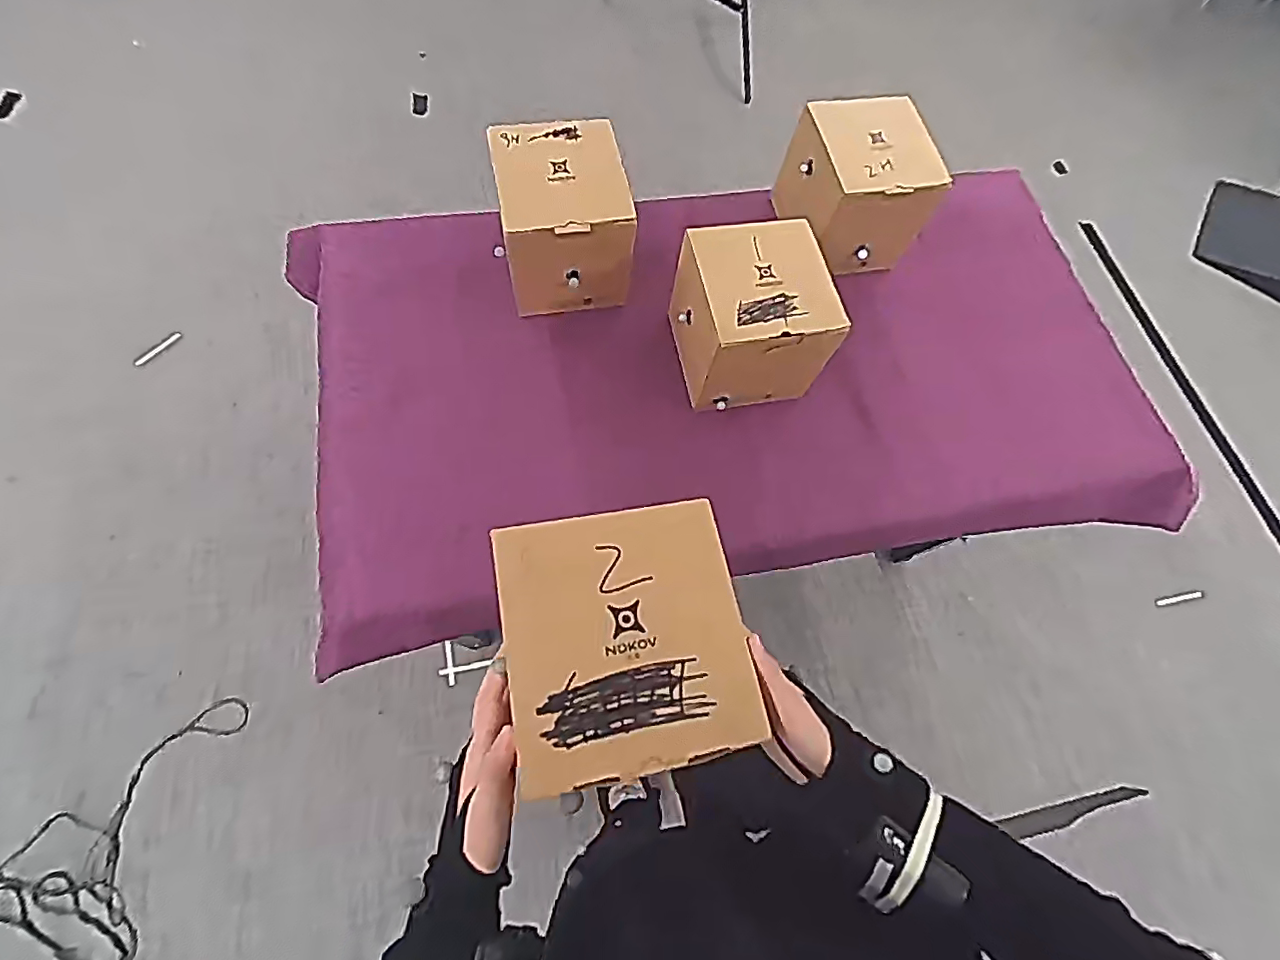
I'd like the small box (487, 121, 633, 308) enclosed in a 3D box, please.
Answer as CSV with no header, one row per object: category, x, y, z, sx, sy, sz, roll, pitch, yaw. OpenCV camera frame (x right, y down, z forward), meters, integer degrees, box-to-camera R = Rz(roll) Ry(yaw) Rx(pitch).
small box,-0.109,-0.360,0.760,0.168,0.176,0.179,-10,73,-9

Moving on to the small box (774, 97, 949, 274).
small box,0.324,-0.445,0.834,0.168,0.176,0.179,-10,72,-8

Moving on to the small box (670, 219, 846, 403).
small box,0.145,-0.217,0.734,0.168,0.176,0.179,-9,70,-9
